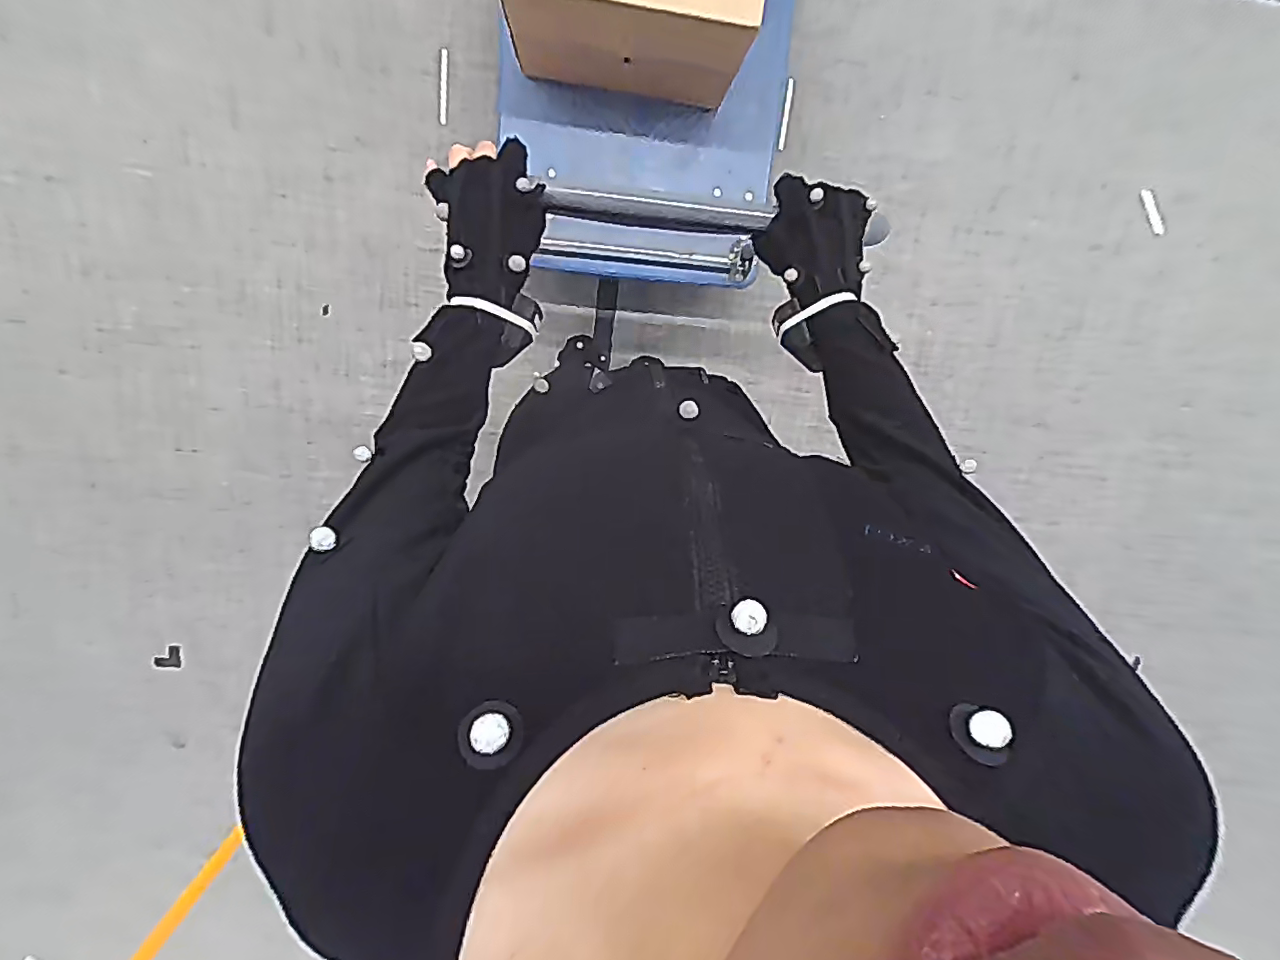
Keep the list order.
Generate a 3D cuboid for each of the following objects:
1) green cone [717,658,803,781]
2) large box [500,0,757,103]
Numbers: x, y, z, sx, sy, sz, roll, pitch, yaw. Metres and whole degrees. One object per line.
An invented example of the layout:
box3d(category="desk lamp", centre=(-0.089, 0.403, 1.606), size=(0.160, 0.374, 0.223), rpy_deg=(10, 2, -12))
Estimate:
box3d(category="green cone", centre=(0.367, 0.694, 1.520), size=(0.202, 0.368, 0.200), rpy_deg=(8, 103, -7))
box3d(category="large box", centre=(-0.012, -0.906, 0.934), size=(0.408, 0.320, 0.320), rpy_deg=(6, 104, -5))
